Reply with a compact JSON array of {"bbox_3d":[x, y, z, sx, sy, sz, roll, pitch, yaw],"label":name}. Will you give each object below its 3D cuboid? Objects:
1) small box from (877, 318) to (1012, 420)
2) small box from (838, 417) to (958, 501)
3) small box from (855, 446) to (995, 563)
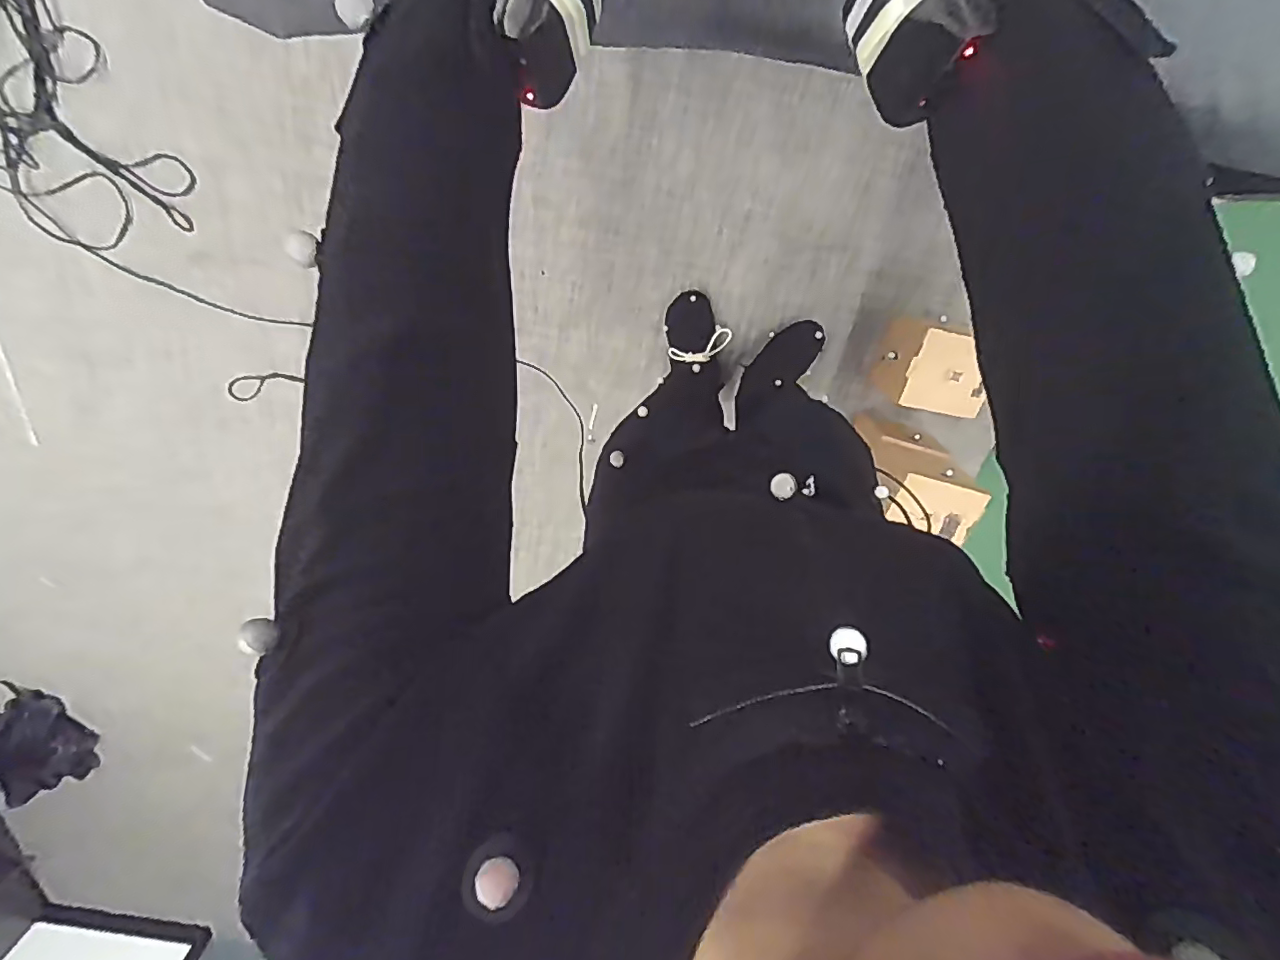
[{"bbox_3d":[0.647,-0.248,1.178,0.179,0.176,0.168,11,116,-2],"label":"small box"},{"bbox_3d":[0.603,-0.033,1.289,0.179,0.176,0.168,16,116,-3],"label":"small box"},{"bbox_3d":[0.589,0.045,1.145,0.179,0.176,0.168,15,115,-3],"label":"small box"}]
